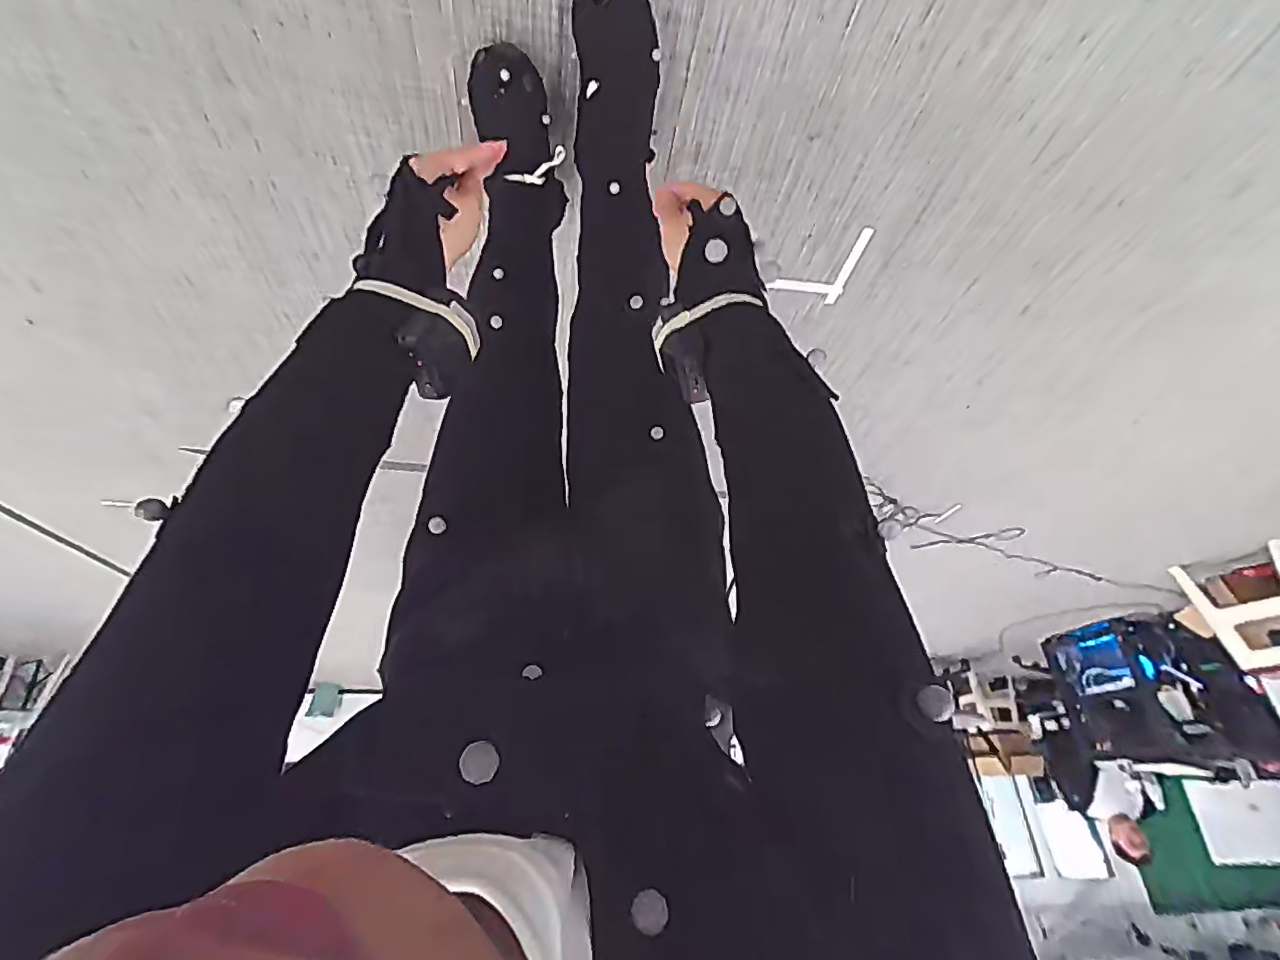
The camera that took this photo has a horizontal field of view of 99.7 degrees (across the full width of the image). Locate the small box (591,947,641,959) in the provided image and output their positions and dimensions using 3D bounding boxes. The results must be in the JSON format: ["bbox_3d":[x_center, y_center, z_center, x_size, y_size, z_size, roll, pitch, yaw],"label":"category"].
[{"bbox_3d":[-0.086,1.747,1.873,0.168,0.176,0.179,4,149,-7],"label":"small box"}]
